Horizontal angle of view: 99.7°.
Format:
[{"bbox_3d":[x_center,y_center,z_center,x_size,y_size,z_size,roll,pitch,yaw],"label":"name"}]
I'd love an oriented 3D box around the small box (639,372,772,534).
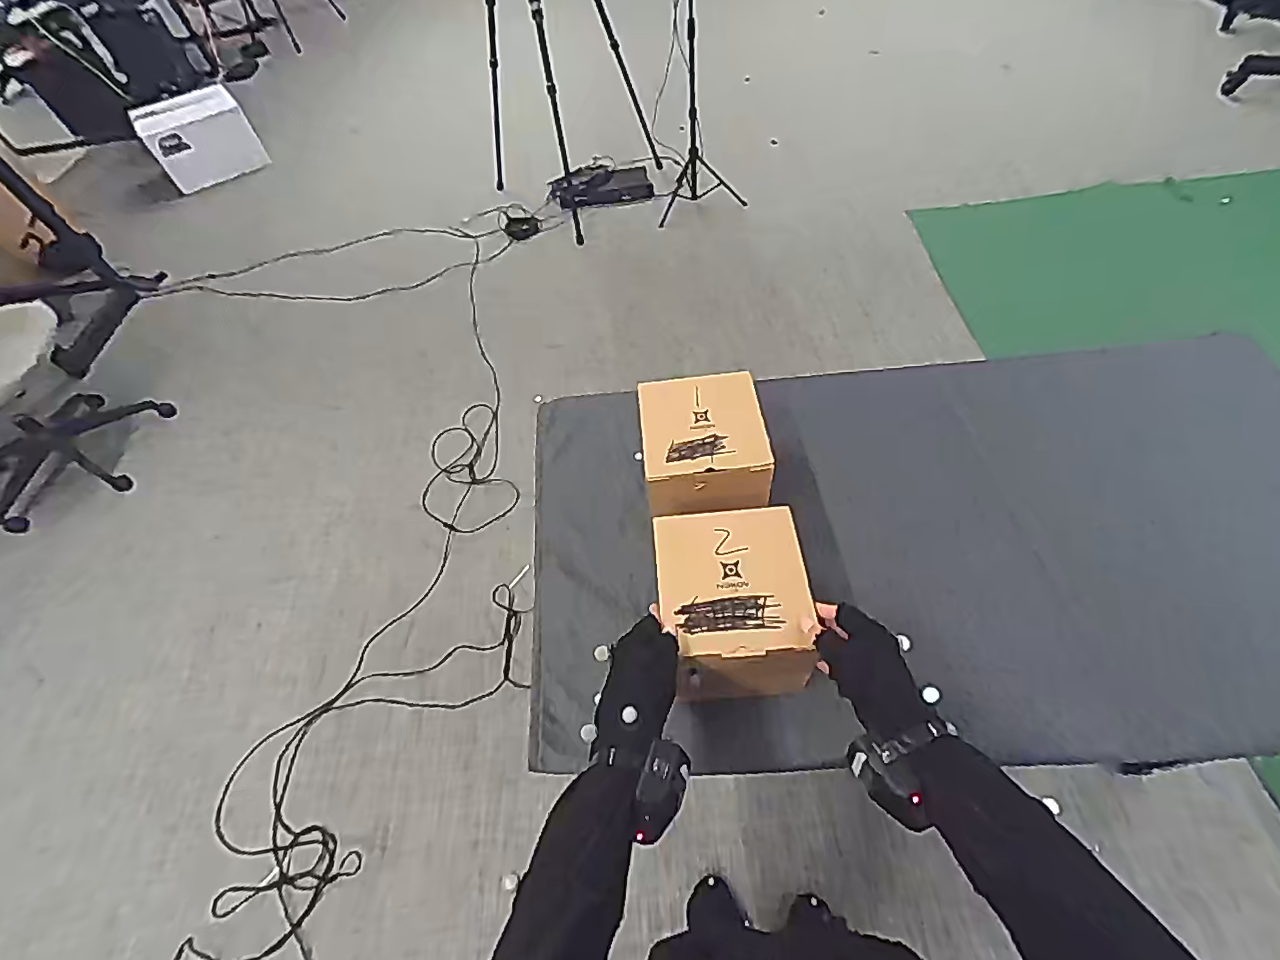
[{"bbox_3d":[0.092,-0.032,0.800,0.168,0.176,0.179,-6,55,2],"label":"small box"}]
